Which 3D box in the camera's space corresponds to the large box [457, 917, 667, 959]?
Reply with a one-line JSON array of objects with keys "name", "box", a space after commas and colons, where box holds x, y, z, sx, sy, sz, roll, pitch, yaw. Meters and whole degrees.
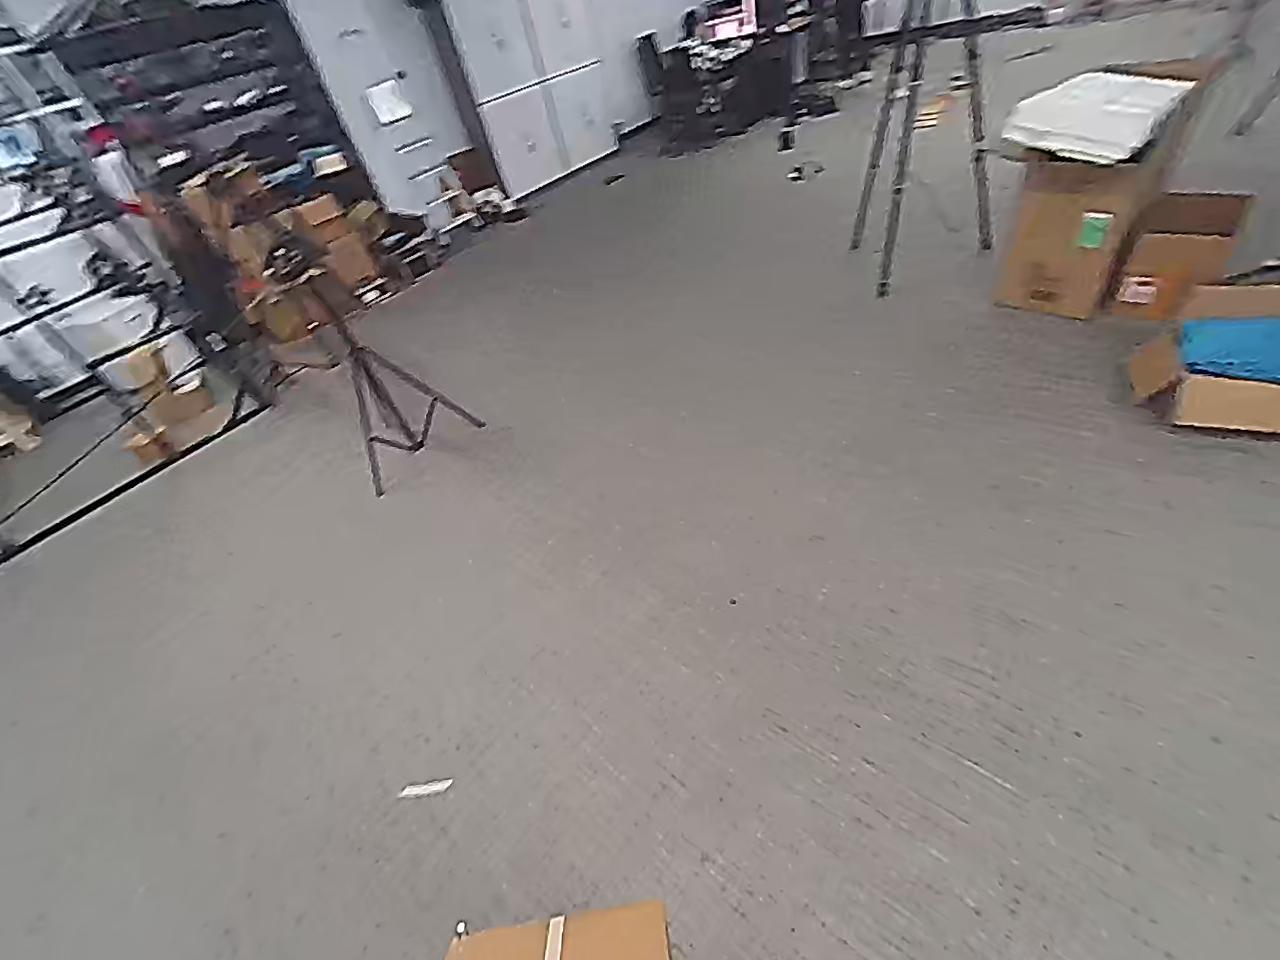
[{"name": "large box", "box": [-0.085, 0.821, 0.599, 0.320, 0.320, 0.408, -9, 1, -2]}]
